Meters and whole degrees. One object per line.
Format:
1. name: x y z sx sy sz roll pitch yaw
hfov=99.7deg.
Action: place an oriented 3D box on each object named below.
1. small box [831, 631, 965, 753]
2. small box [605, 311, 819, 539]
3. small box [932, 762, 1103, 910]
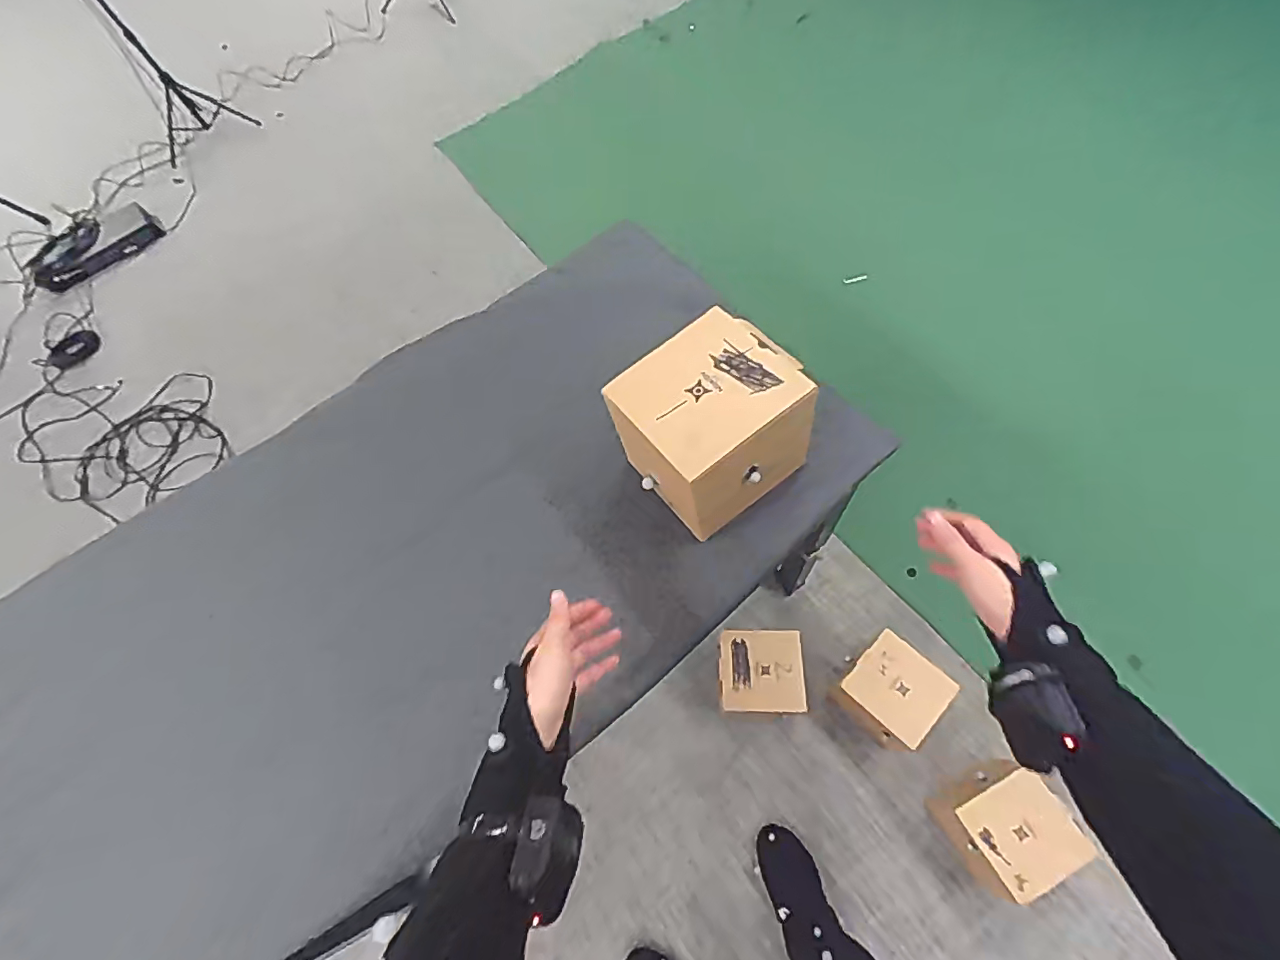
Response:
1. small box: 0.542 0.454 1.163 0.168 0.176 0.179 -44 67 -12
2. small box: 0.086 -0.060 0.655 0.179 0.176 0.168 -36 61 -8
3. small box: 0.708 0.667 1.039 0.179 0.176 0.168 -29 65 -5
